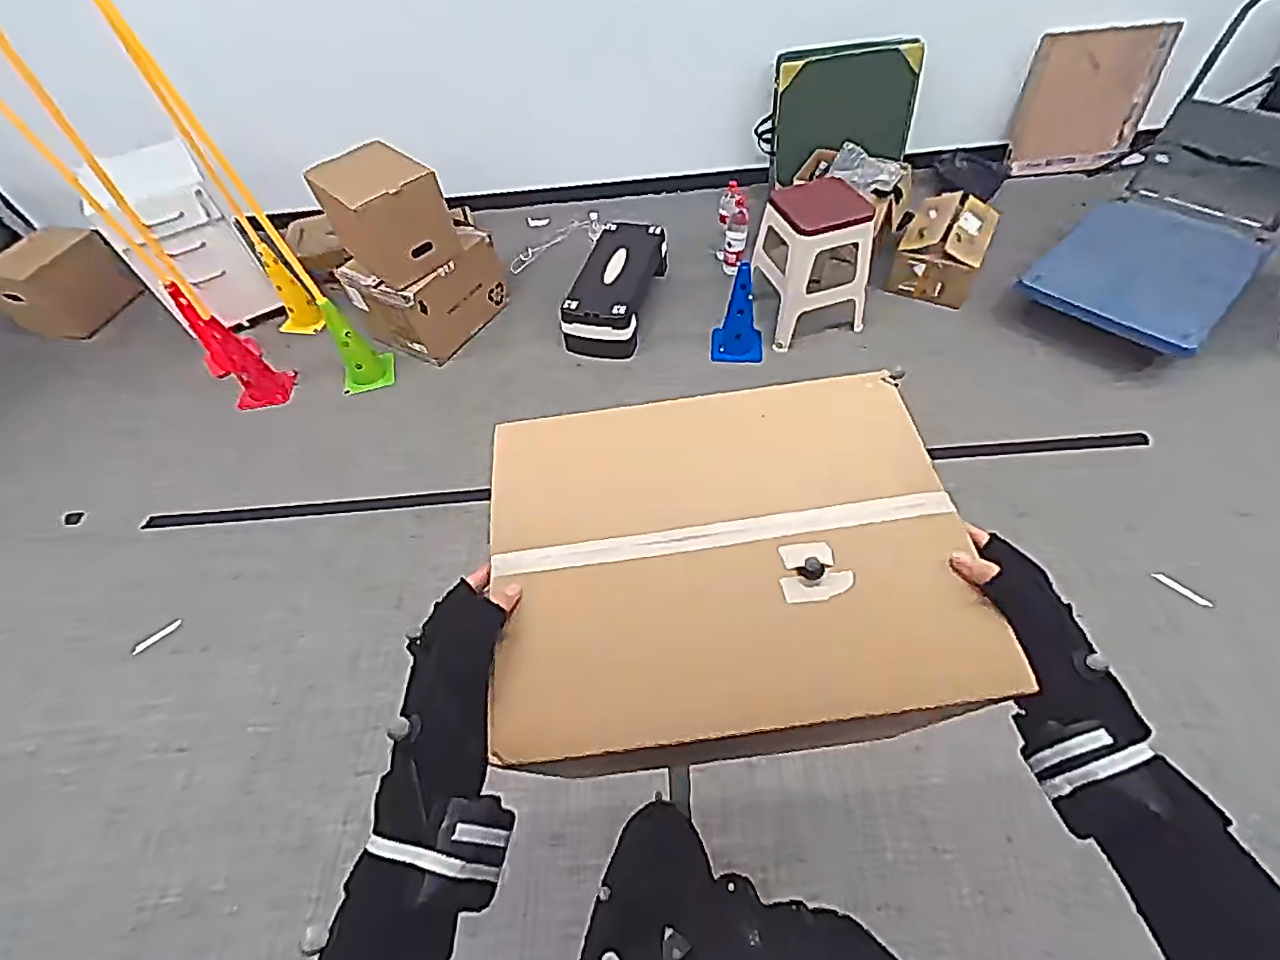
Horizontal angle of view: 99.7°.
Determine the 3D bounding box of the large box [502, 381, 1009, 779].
[{"bbox_3d":[0.081,0.130,0.616,0.408,0.320,0.320,-8,59,0],"label":"large box"}]
